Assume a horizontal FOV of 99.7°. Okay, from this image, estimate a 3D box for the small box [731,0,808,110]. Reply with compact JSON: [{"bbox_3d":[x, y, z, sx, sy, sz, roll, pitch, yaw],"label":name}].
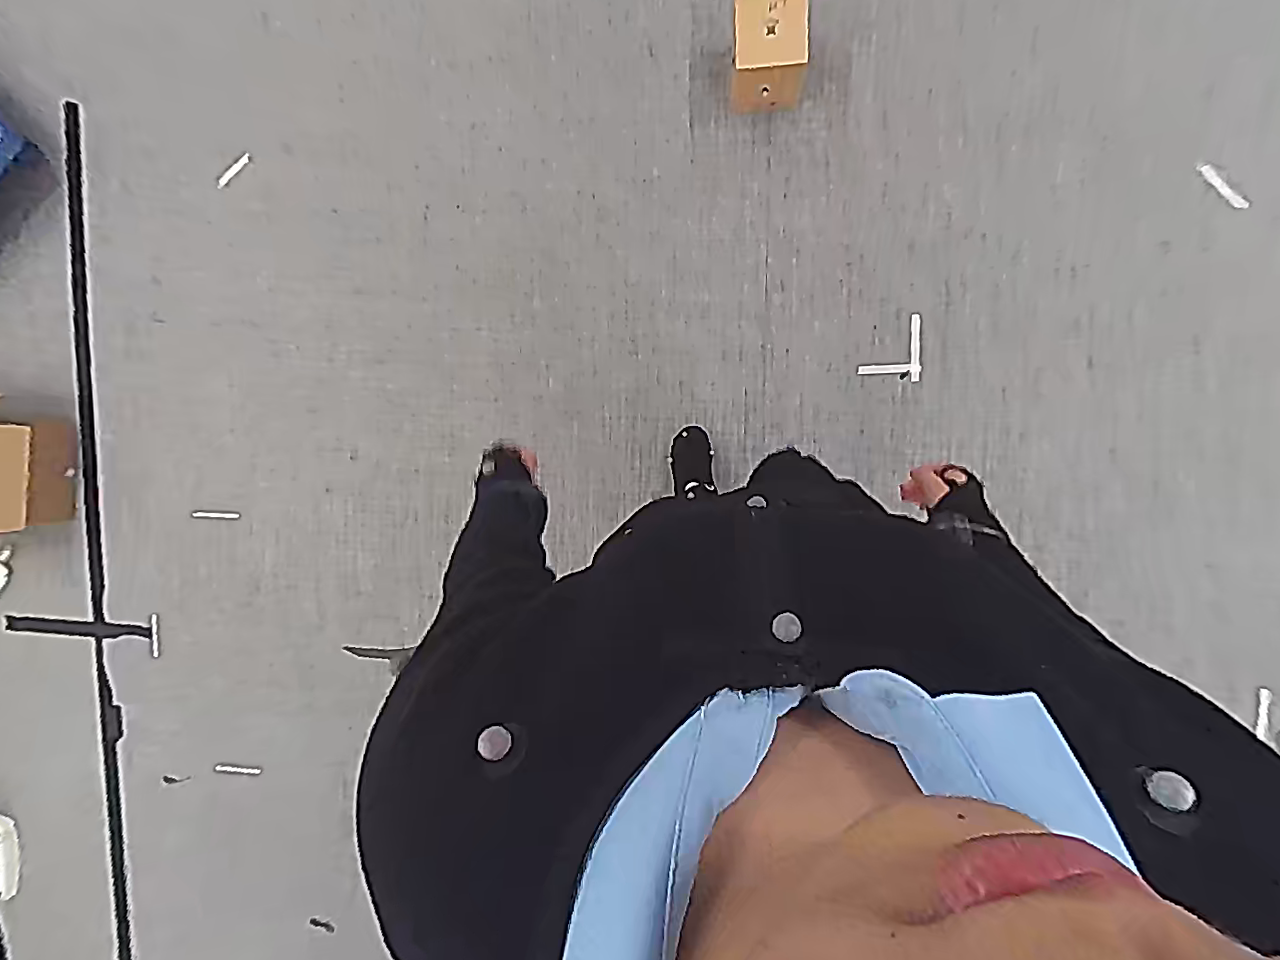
[{"bbox_3d":[0.311,-1.039,1.320,0.168,0.176,0.179,-1,93,6],"label":"small box"}]
